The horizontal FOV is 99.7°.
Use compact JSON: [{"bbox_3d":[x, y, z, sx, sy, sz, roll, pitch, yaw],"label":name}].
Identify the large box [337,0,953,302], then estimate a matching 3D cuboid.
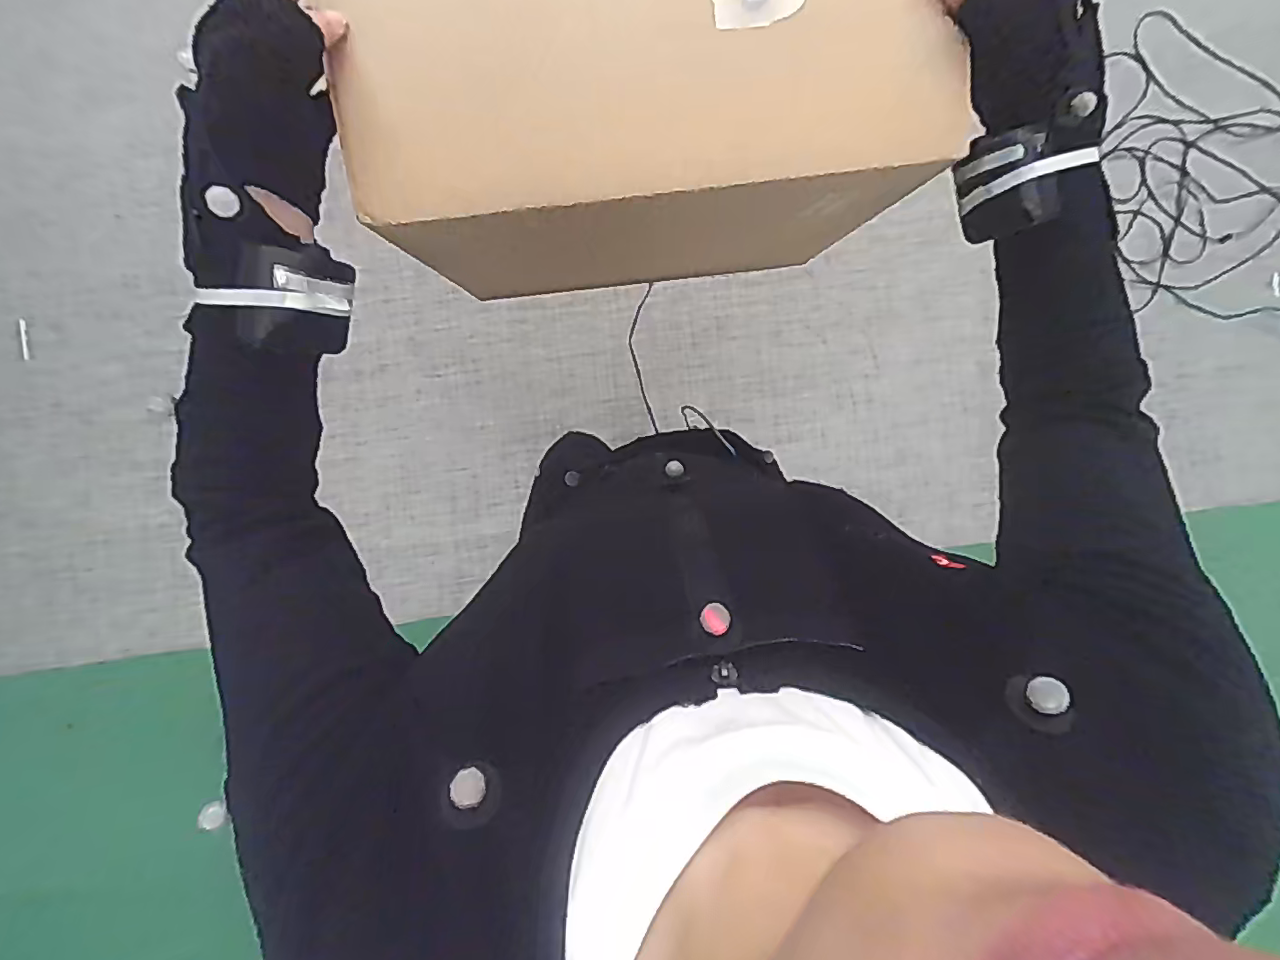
[{"bbox_3d":[-0.007,-0.370,0.493,0.408,0.320,0.320,-8,100,-1],"label":"large box"}]
